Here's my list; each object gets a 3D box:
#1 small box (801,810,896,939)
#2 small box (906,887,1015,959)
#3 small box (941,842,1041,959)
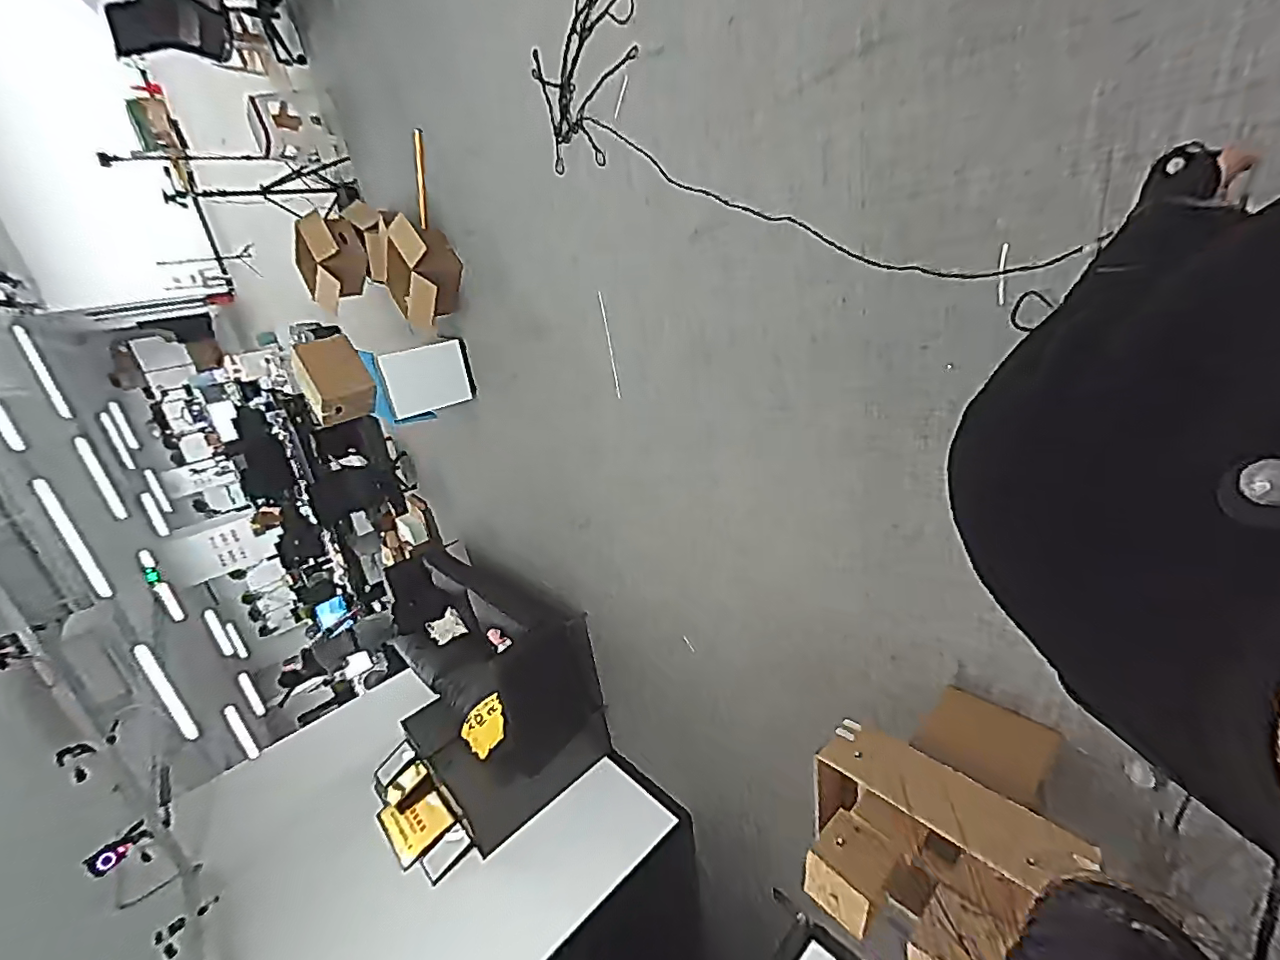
[{"bbox_3d":[0.541,1.012,1.402,0.168,0.176,0.179,23,127,44],"label":"small box"},{"bbox_3d":[0.718,1.080,1.213,0.168,0.176,0.179,13,119,49],"label":"small box"},{"bbox_3d":[0.847,1.039,1.307,0.168,0.176,0.179,12,119,48],"label":"small box"}]
